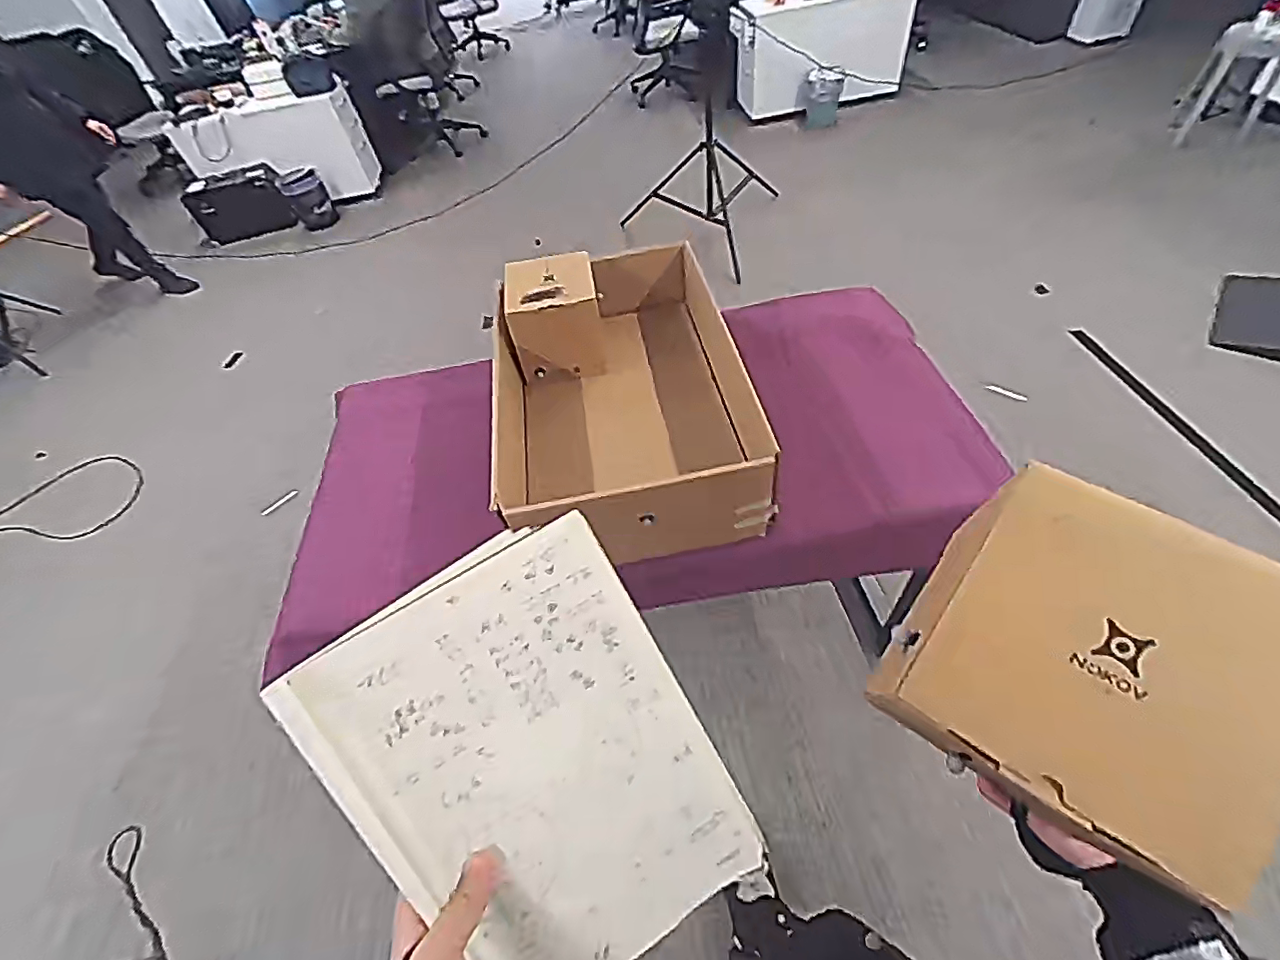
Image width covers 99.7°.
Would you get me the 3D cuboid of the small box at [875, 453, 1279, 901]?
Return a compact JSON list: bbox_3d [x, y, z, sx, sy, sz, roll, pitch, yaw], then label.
[{"bbox_3d":[0.282,0.116,0.368,0.168,0.176,0.179,31,82,24],"label":"small box"}]
